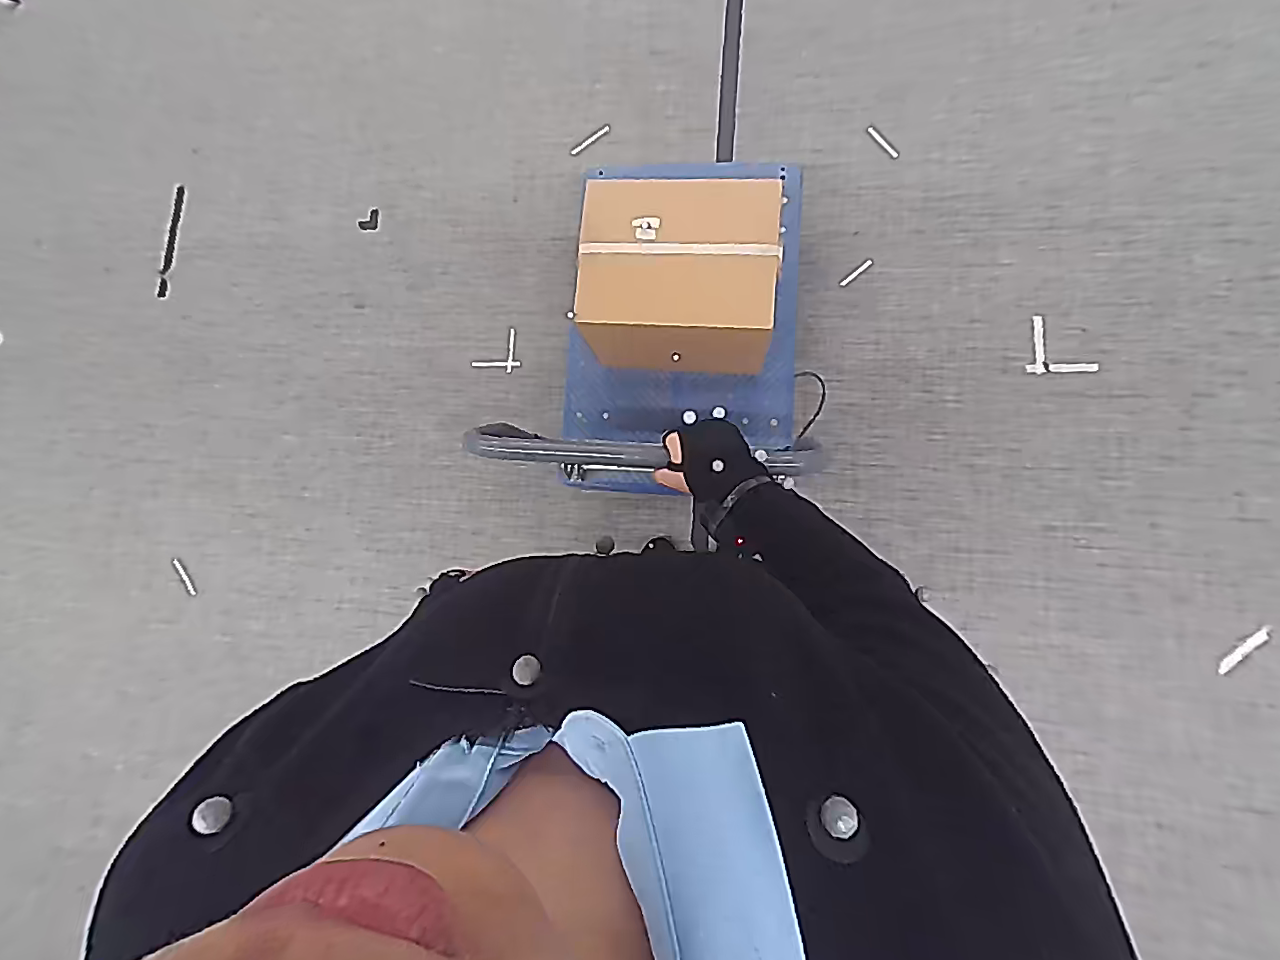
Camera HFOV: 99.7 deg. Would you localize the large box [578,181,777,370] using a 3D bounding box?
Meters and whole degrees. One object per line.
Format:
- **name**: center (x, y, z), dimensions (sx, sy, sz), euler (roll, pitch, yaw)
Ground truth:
- **large box**: center (0.098, -0.448, 1.257), dimensions (0.408, 0.320, 0.320), euler (4, 84, 9)
